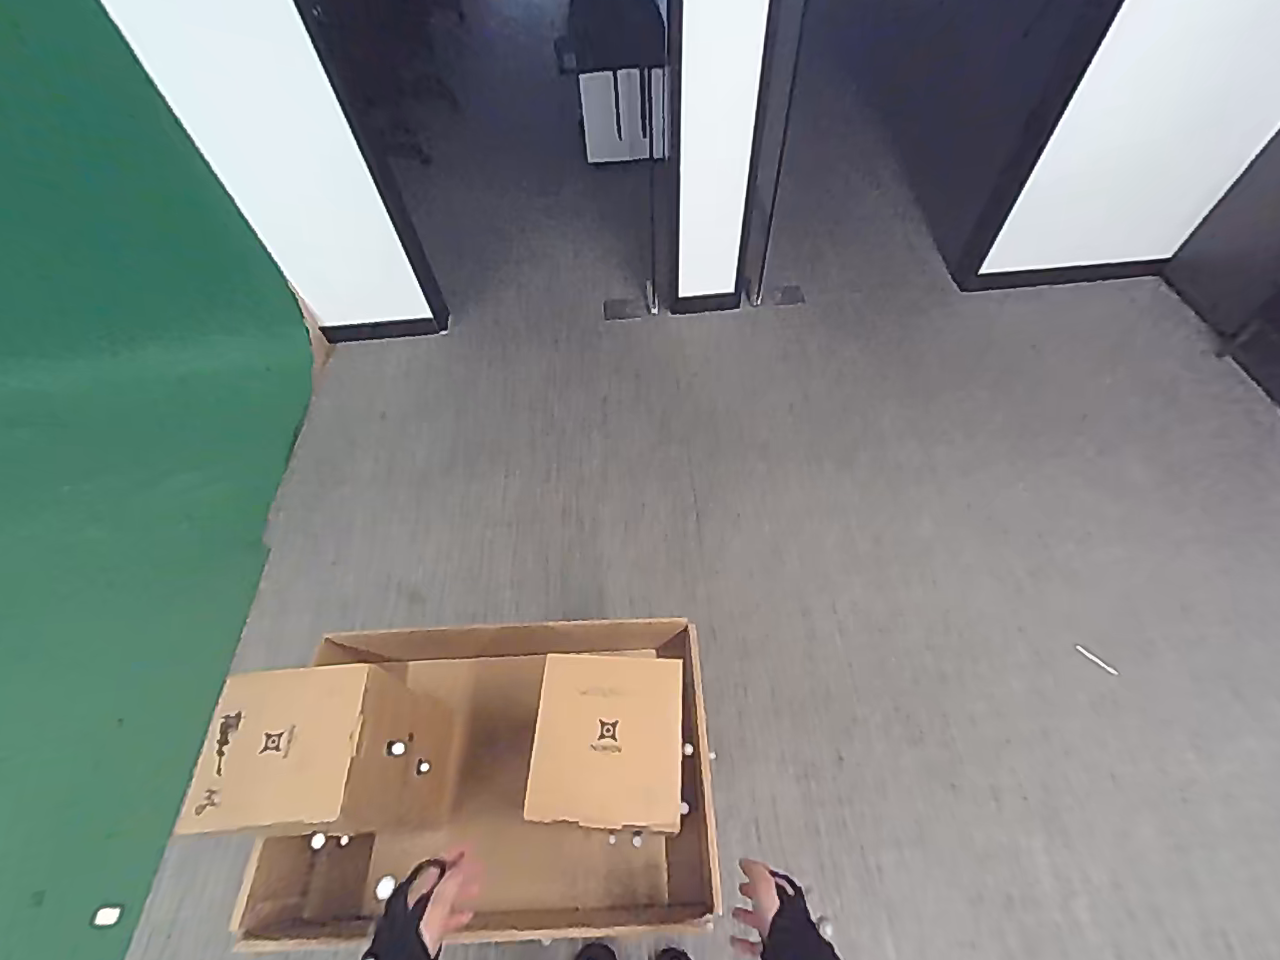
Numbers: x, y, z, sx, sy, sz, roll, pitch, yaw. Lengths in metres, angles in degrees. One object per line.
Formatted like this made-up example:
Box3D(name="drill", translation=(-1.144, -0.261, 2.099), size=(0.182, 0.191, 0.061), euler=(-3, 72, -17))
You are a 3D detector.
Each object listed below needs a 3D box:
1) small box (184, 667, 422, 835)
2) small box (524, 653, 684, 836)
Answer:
Box3D(name="small box", translation=(-0.397, 0.344, 0.680), size=(0.179, 0.176, 0.168), euler=(-4, 55, 0))
Box3D(name="small box", translation=(-0.032, 0.330, 0.668), size=(0.168, 0.176, 0.179), euler=(2, 55, 4))
